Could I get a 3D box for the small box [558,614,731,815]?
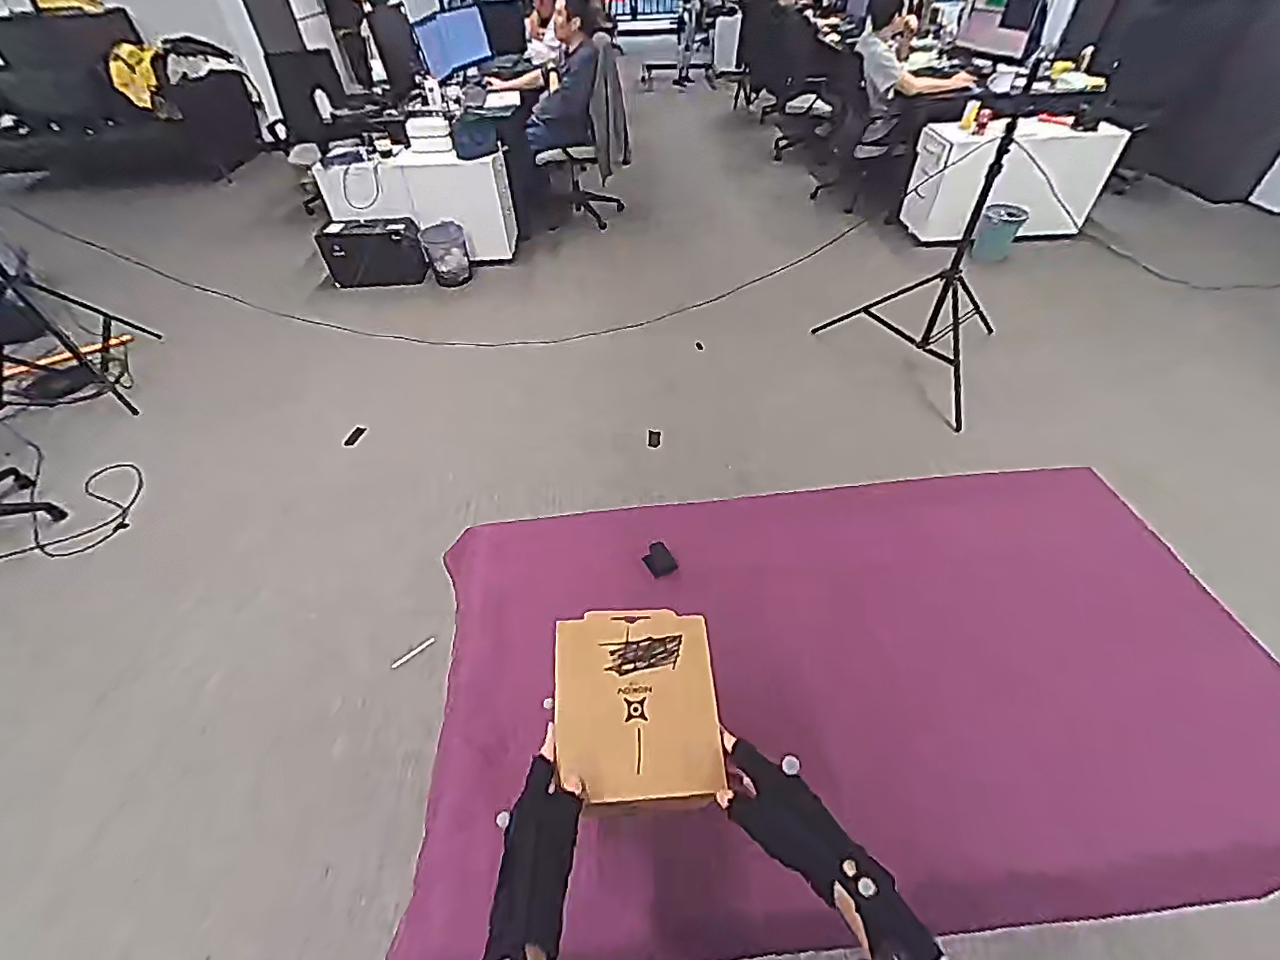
[{"bbox_3d":[-0.008,0.267,0.613,0.168,0.176,0.179,-1,55,-7],"label":"small box"}]
